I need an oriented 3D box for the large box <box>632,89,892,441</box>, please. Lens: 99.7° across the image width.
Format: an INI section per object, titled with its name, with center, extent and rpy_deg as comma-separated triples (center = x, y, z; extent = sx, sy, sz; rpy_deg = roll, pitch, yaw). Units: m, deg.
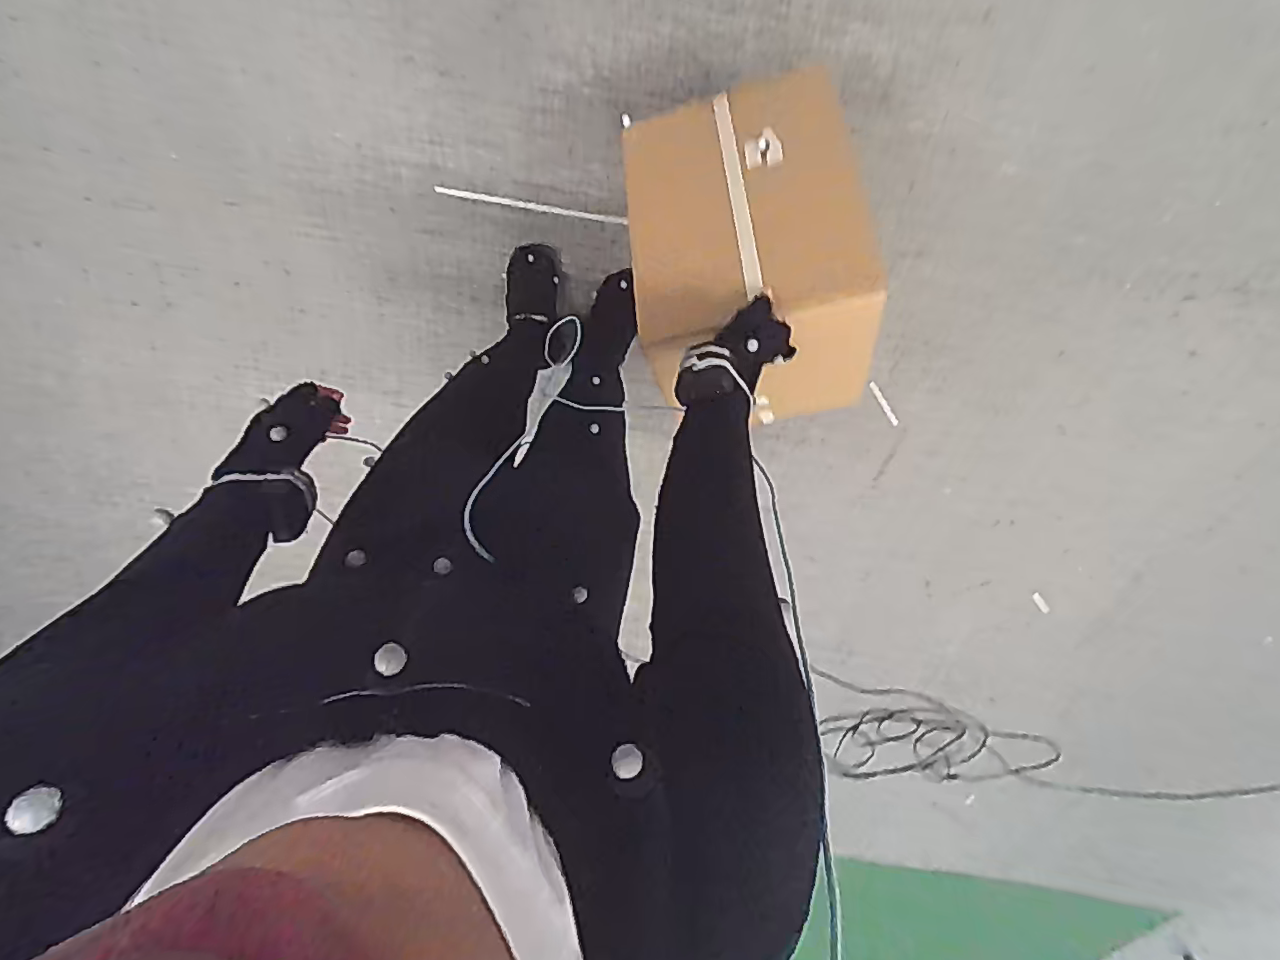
[large box]
center = 0.189, -0.325, 0.901
extent = 0.320, 0.408, 0.320
rpy_deg = -9, 159, 12
